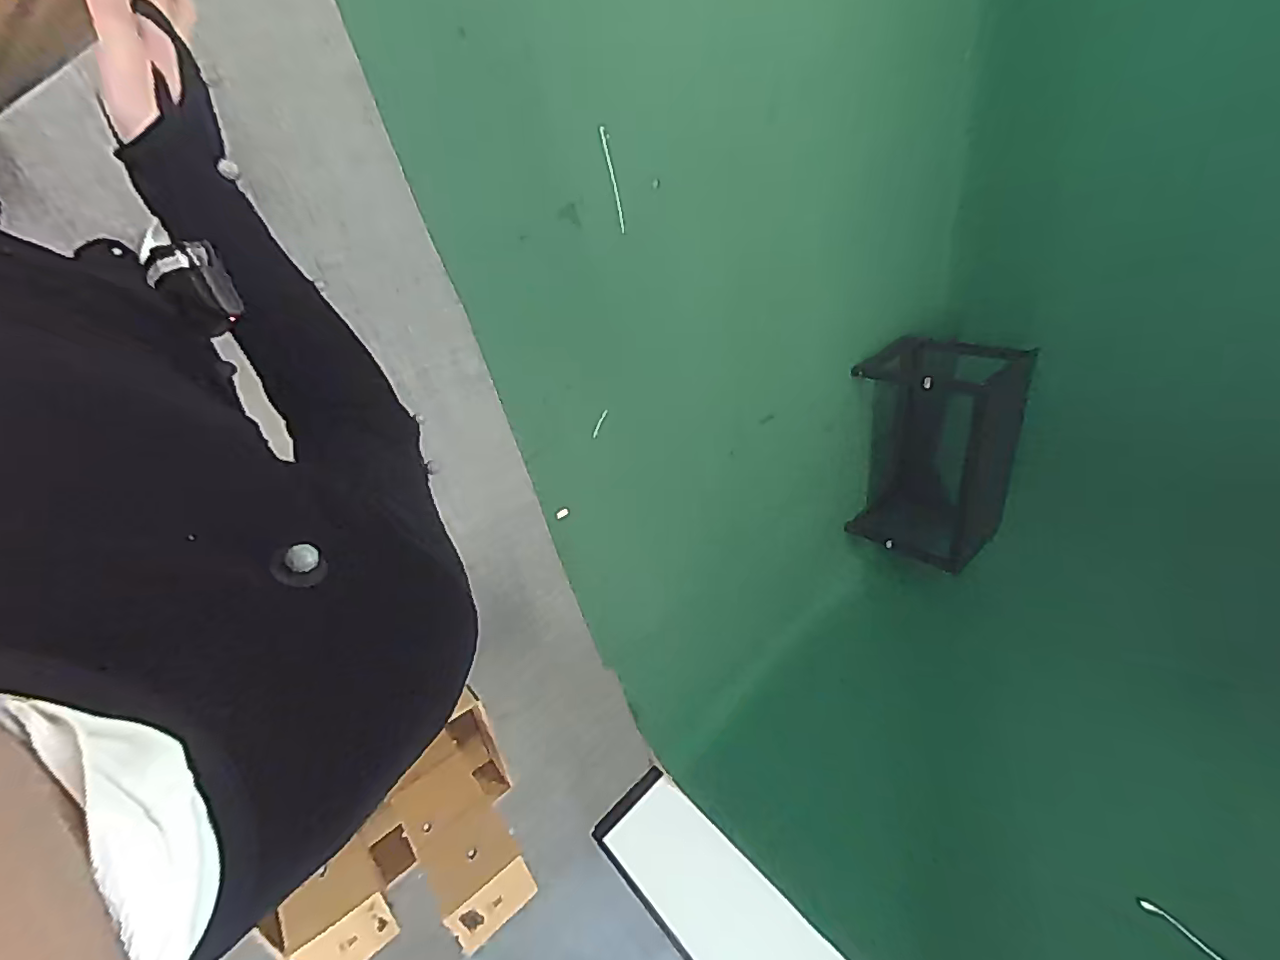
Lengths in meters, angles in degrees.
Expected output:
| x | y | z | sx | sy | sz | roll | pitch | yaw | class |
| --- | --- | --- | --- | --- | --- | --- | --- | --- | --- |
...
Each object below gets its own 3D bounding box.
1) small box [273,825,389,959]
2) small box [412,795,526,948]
| x | y | z | sx | sy | sz | roll | pitch | yaw | class |
| --- | --- | --- | --- | --- | --- | --- | --- | --- | --- |
| -0.681 | 0.919 | 1.187 | 0.179 | 0.176 | 0.168 | -22 | 122 | -31 | small box |
| -0.381 | 0.851 | 1.191 | 0.179 | 0.176 | 0.168 | -28 | 125 | -30 | small box |
